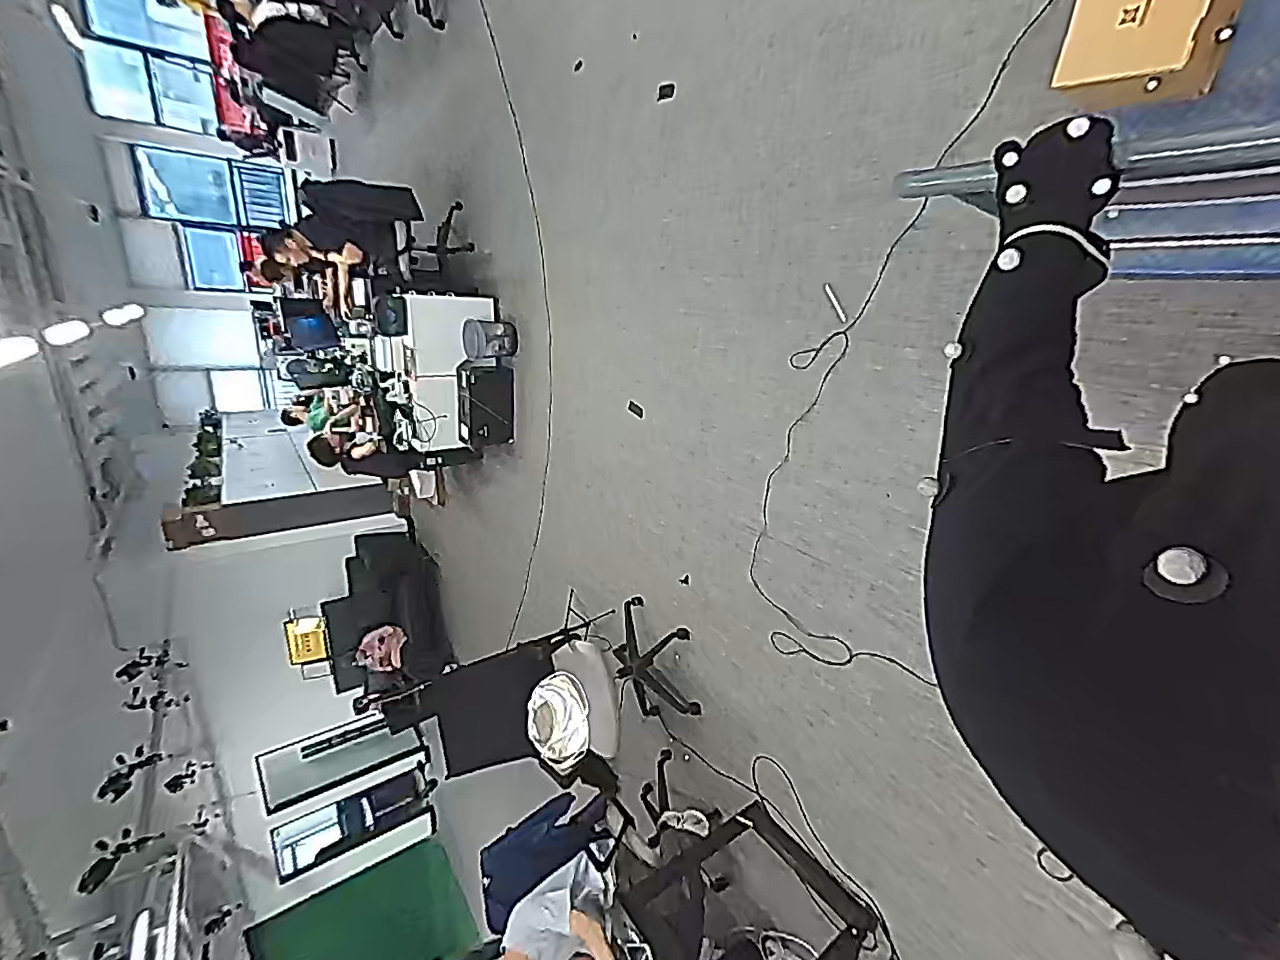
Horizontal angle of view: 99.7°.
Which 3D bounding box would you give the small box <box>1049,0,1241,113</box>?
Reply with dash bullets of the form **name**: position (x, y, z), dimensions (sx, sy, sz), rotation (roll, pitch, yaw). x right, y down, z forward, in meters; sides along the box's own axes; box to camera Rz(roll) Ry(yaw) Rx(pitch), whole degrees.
- **small box**: position (0.819, -0.723, 0.879), dimensions (0.179, 0.176, 0.168), rotation (28, 120, 46)
